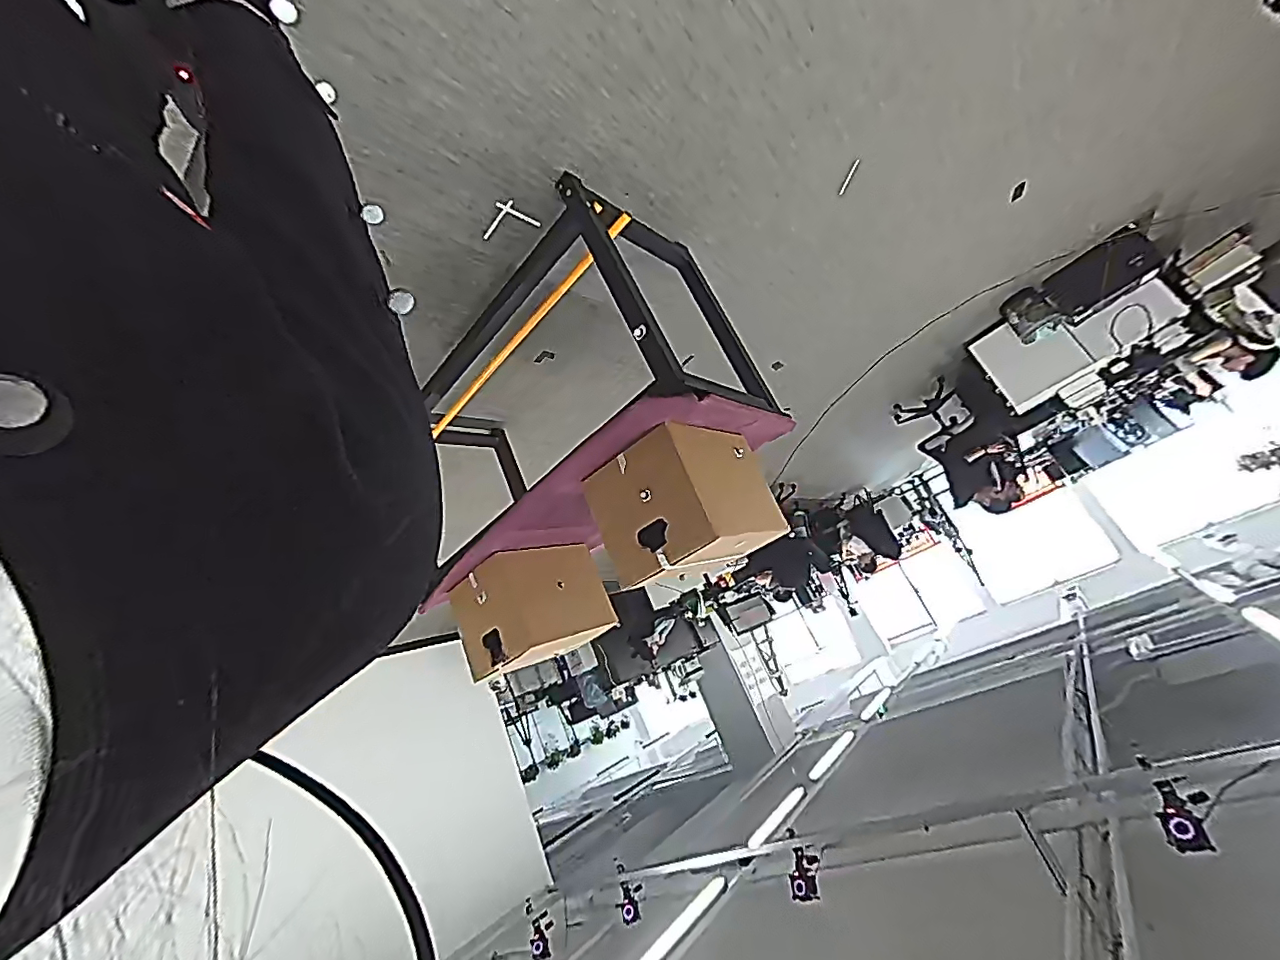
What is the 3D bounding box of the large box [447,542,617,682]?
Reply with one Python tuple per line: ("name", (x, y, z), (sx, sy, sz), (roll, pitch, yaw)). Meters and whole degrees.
("large box", (-0.361, 0.424, 1.809), (0.320, 0.320, 0.408), (-36, 159, 31))
